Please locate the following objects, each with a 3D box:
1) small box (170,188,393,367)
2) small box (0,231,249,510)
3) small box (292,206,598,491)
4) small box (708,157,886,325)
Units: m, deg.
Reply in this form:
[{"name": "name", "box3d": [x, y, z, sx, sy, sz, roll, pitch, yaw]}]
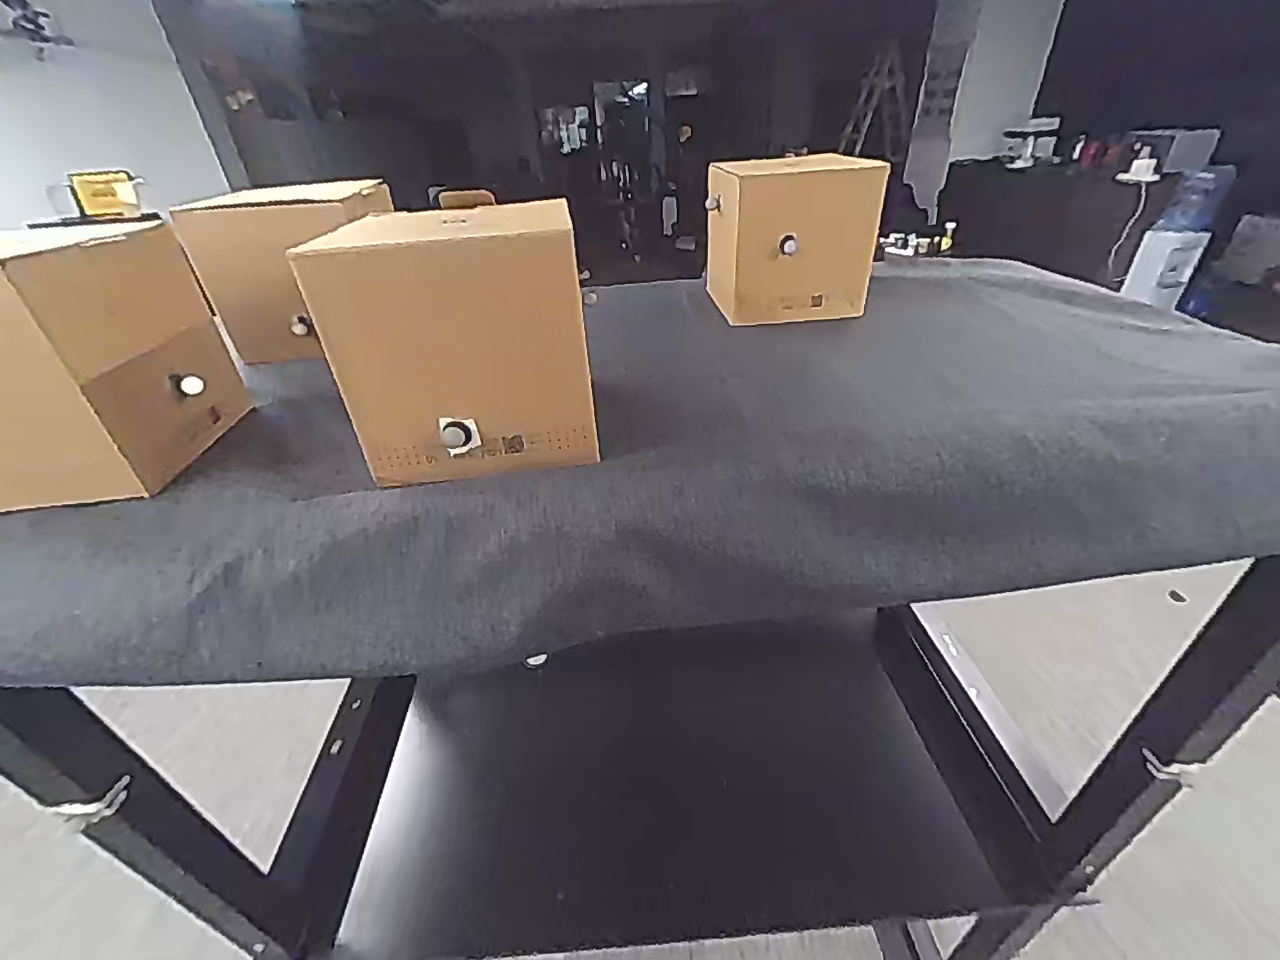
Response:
[{"name": "small box", "box3d": [-0.392, -0.248, 0.658, 0.179, 0.176, 0.168, -5, 34, -4]}, {"name": "small box", "box3d": [-0.457, -0.084, 0.414, 0.179, 0.176, 0.168, -6, 33, -5]}, {"name": "small box", "box3d": [-0.126, -0.111, 0.427, 0.168, 0.176, 0.179, -8, 32, -5]}, {"name": "small box", "box3d": [0.182, -0.300, 0.684, 0.168, 0.176, 0.179, -5, 34, -2]}]
